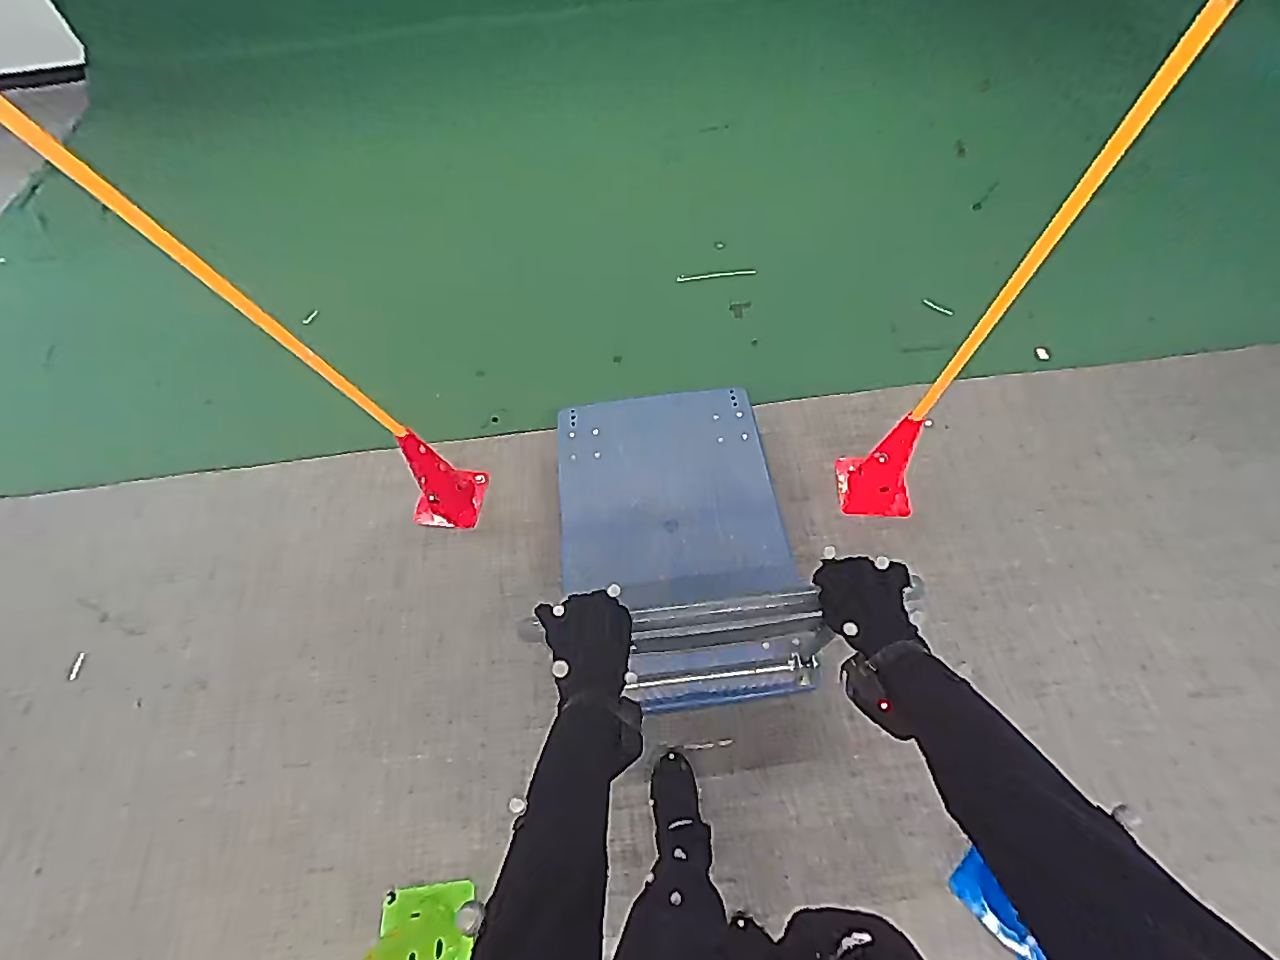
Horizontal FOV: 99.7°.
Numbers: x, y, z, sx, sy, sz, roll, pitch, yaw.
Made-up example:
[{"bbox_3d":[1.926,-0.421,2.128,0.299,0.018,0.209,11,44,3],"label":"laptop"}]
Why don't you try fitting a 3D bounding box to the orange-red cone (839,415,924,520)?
[{"bbox_3d":[0.689,-0.056,1.471,0.198,0.360,0.199,3,61,7],"label":"orange-red cone"}]
